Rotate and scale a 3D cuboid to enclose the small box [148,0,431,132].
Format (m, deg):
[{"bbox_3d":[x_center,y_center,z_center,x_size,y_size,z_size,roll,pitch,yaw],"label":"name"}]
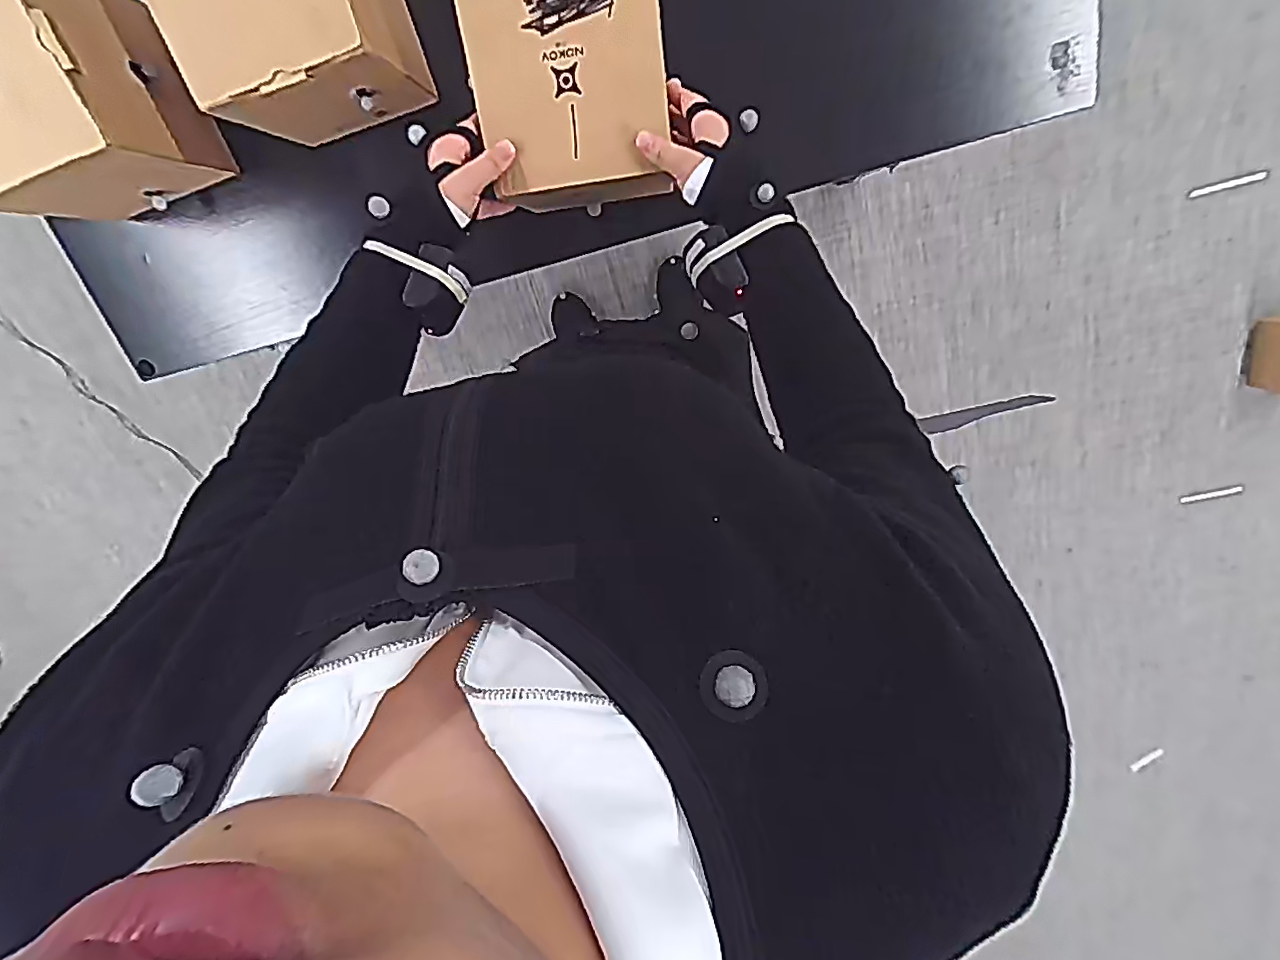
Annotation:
[{"bbox_3d":[-0.327,-0.453,0.507,0.168,0.176,0.179,-14,110,7],"label":"small box"}]

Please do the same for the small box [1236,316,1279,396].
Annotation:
[{"bbox_3d":[1.588,-0.300,1.282,0.168,0.176,0.179,-12,112,8],"label":"small box"}]

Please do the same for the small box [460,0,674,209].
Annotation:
[{"bbox_3d":[-0.058,-0.376,0.526,0.168,0.176,0.179,-5,113,5],"label":"small box"}]

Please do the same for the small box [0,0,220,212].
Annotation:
[{"bbox_3d":[-0.578,-0.385,0.542,0.179,0.176,0.168,-16,111,7],"label":"small box"}]
